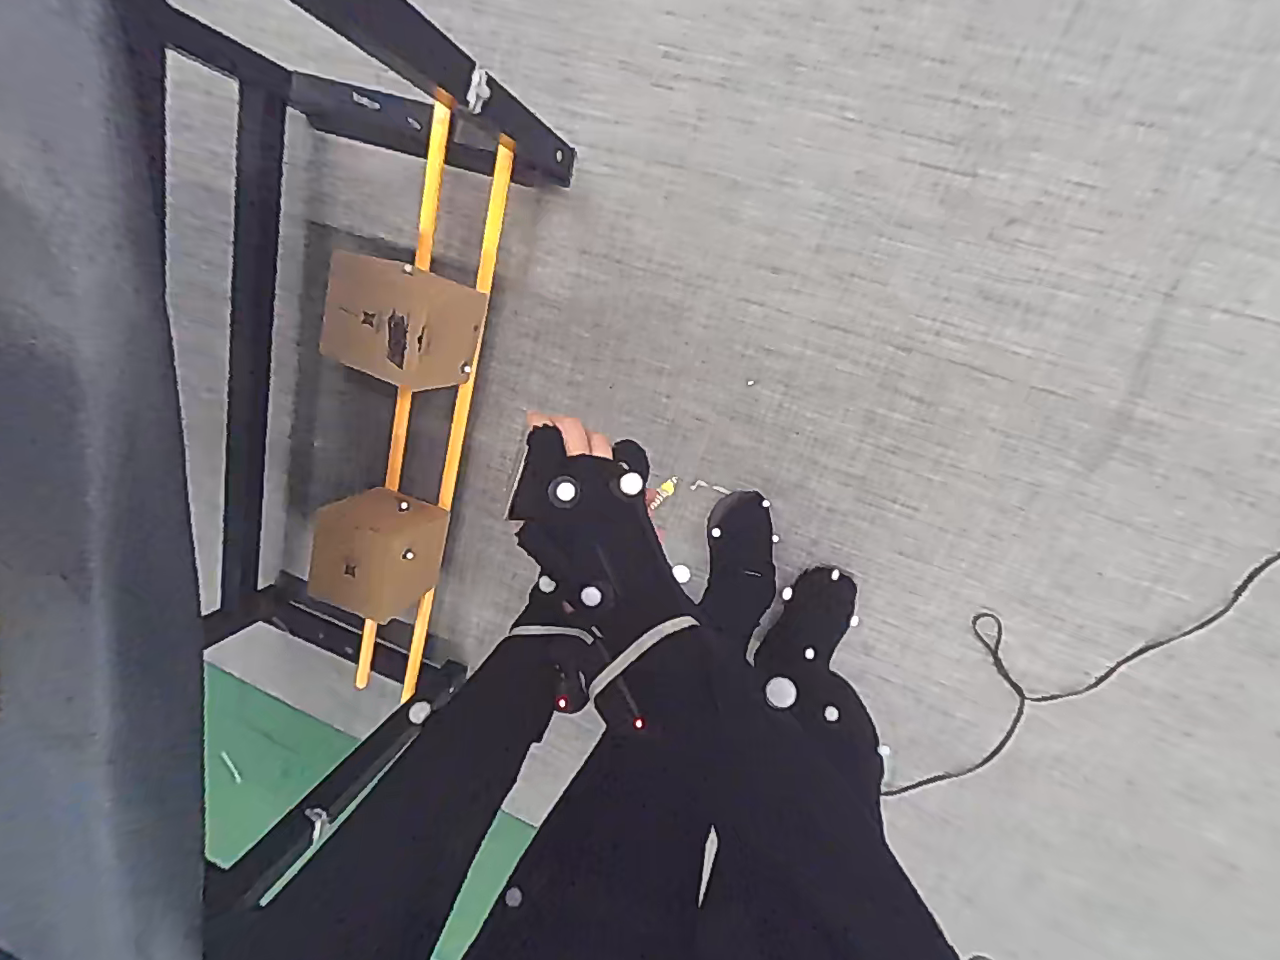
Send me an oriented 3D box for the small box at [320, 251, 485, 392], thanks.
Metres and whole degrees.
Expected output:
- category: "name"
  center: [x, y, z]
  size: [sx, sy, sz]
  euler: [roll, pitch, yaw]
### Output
- category: "small box"
  center: [-0.385, -0.260, 0.898]
  size: [0.179, 0.176, 0.168]
  euler: [23, 108, 8]
